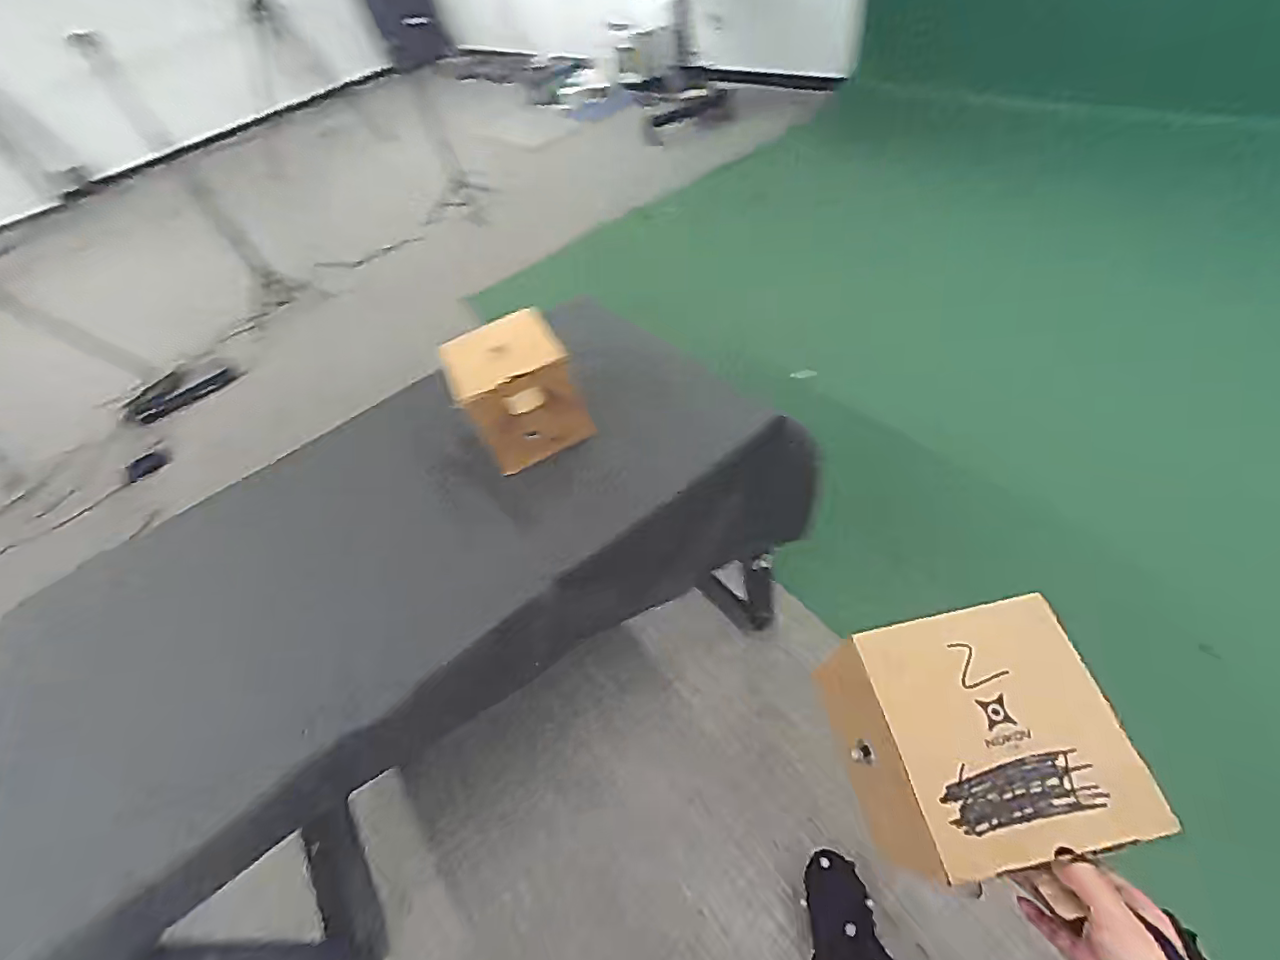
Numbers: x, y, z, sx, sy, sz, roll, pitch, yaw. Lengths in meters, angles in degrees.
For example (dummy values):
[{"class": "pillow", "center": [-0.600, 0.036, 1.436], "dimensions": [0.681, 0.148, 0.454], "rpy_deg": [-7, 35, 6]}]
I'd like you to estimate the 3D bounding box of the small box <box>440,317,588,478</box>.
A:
[{"class": "small box", "center": [-0.207, -0.136, 0.905], "dimensions": [0.168, 0.176, 0.179], "rpy_deg": [-28, 49, -9]}]
